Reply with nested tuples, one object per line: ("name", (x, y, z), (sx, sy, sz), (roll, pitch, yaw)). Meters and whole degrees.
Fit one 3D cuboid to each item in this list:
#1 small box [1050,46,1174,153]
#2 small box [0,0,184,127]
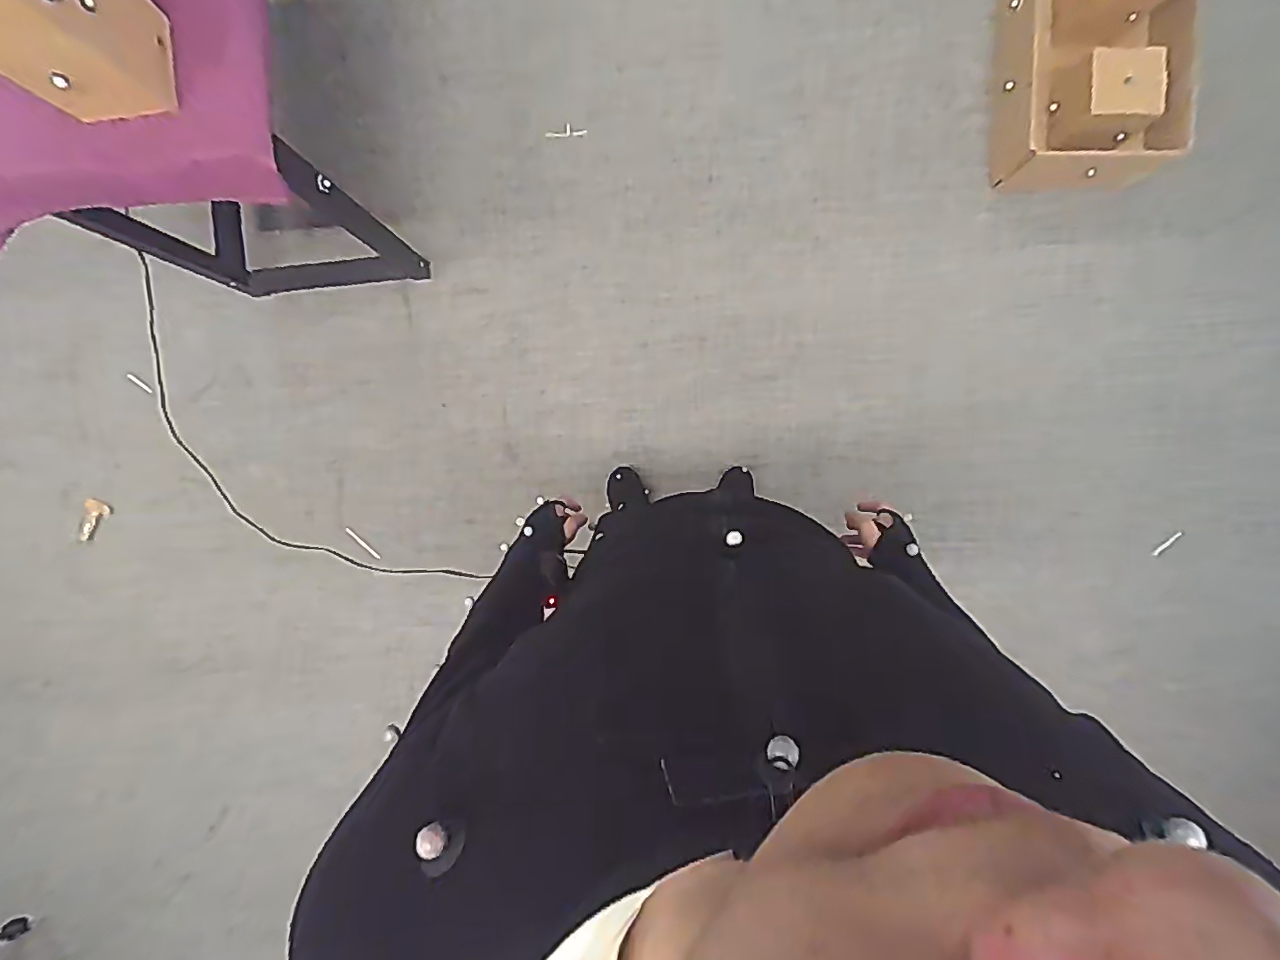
("small box", (1.213, -0.977, 1.400), (0.179, 0.176, 0.168), (2, 91, 4))
("small box", (-0.893, -0.703, 0.870), (0.179, 0.176, 0.168), (-5, 91, 5))
